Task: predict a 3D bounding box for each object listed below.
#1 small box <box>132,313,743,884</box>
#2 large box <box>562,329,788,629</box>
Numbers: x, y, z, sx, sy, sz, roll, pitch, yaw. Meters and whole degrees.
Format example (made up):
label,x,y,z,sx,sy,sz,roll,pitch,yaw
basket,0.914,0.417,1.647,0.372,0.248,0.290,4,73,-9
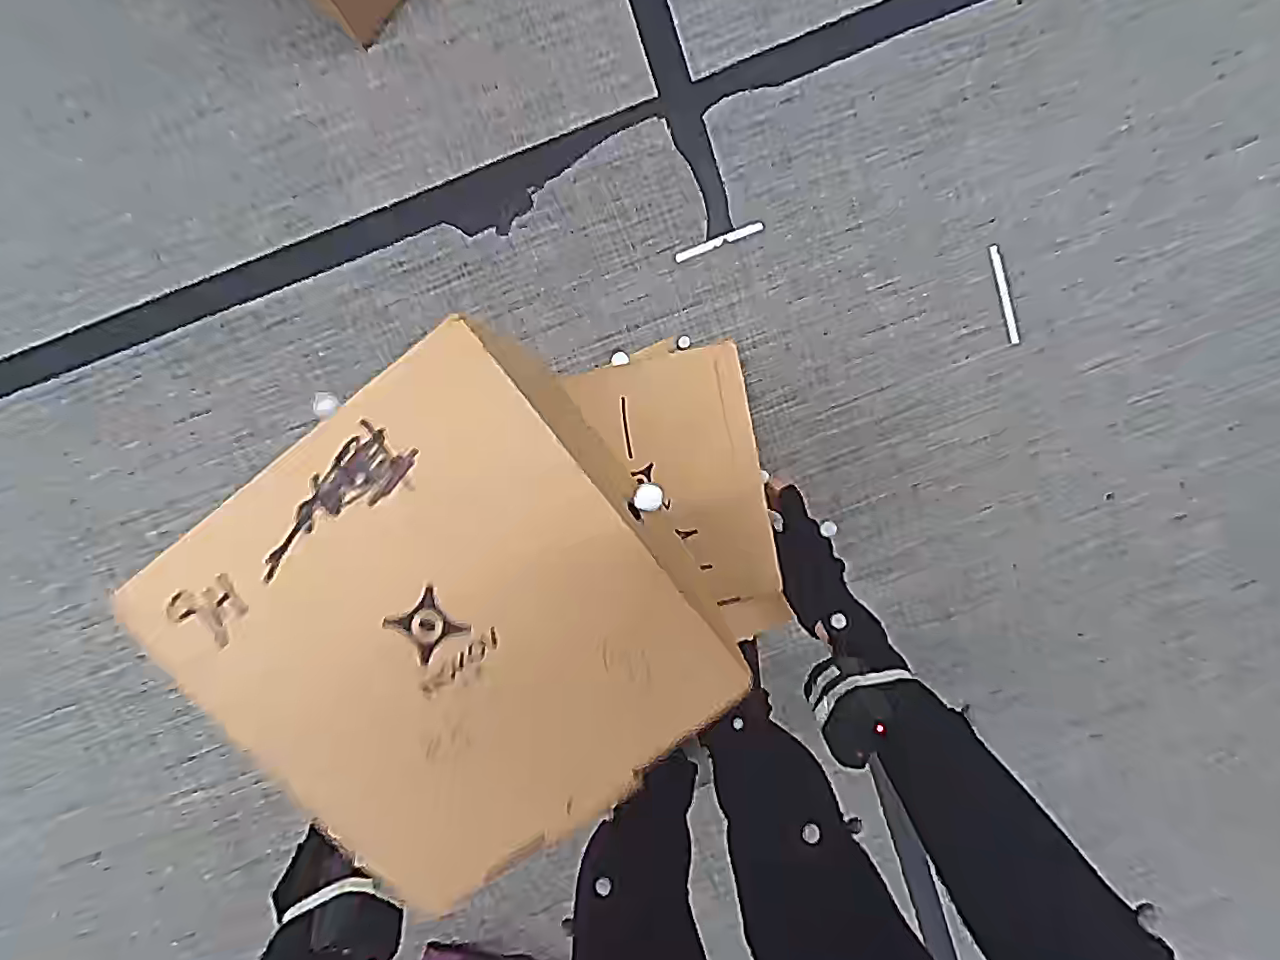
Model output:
label,x,y,z,sx,sy,sz,roll,pitch,yaw
small box,-0.075,0.041,0.285,0.168,0.176,0.179,-37,98,3
large box,-0.092,0.055,0.696,0.408,0.320,0.320,-25,99,0
